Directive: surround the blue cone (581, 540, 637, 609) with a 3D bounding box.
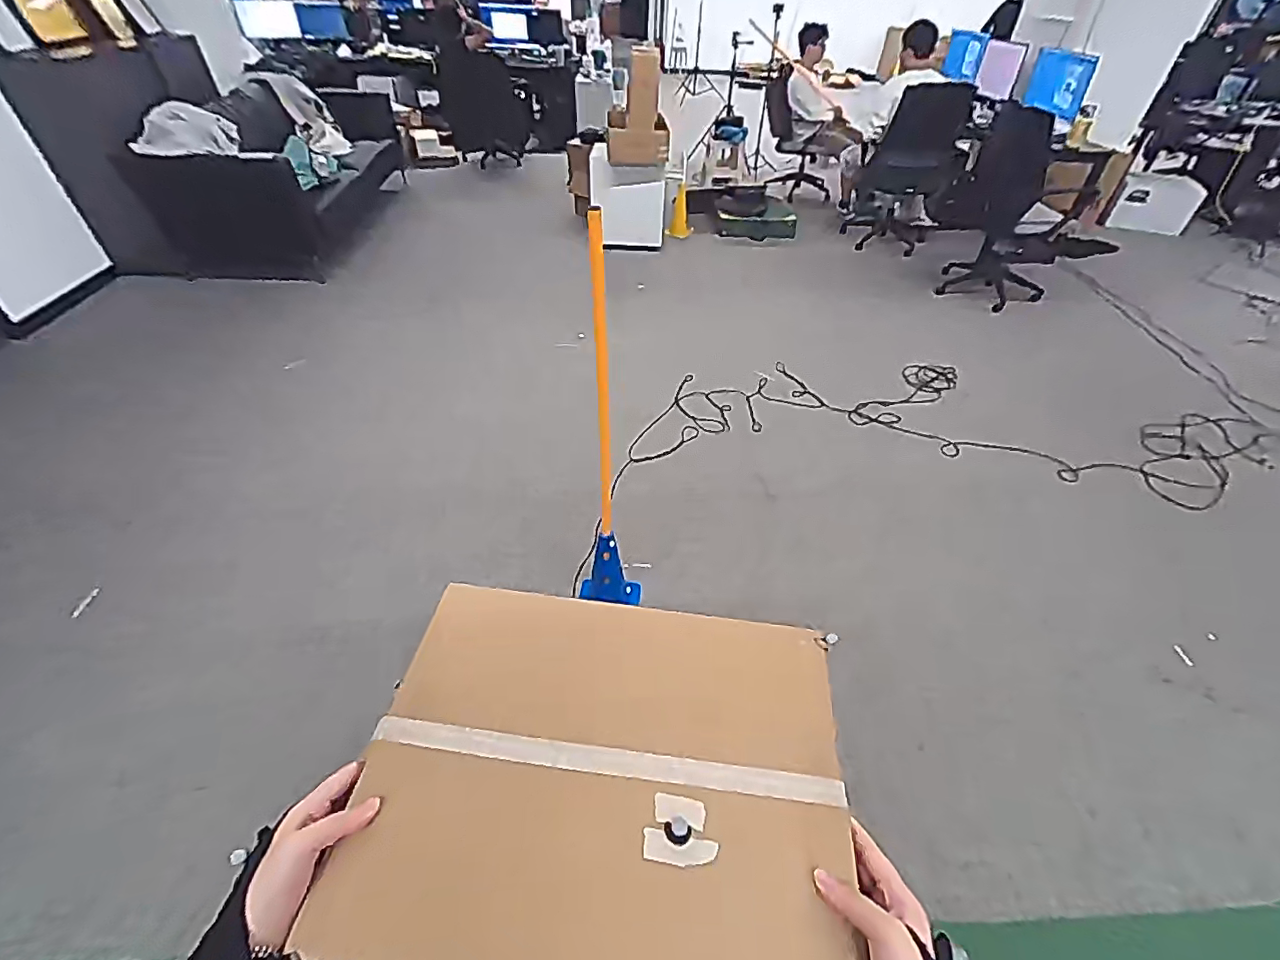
[{"bbox_3d":[-0.101,0.309,1.640,0.193,0.380,0.192,6,43,4],"label":"blue cone"}]

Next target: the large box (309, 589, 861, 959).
[{"bbox_3d":[-0.034,0.352,0.584,0.408,0.320,0.320,7,45,3],"label":"large box"}]
